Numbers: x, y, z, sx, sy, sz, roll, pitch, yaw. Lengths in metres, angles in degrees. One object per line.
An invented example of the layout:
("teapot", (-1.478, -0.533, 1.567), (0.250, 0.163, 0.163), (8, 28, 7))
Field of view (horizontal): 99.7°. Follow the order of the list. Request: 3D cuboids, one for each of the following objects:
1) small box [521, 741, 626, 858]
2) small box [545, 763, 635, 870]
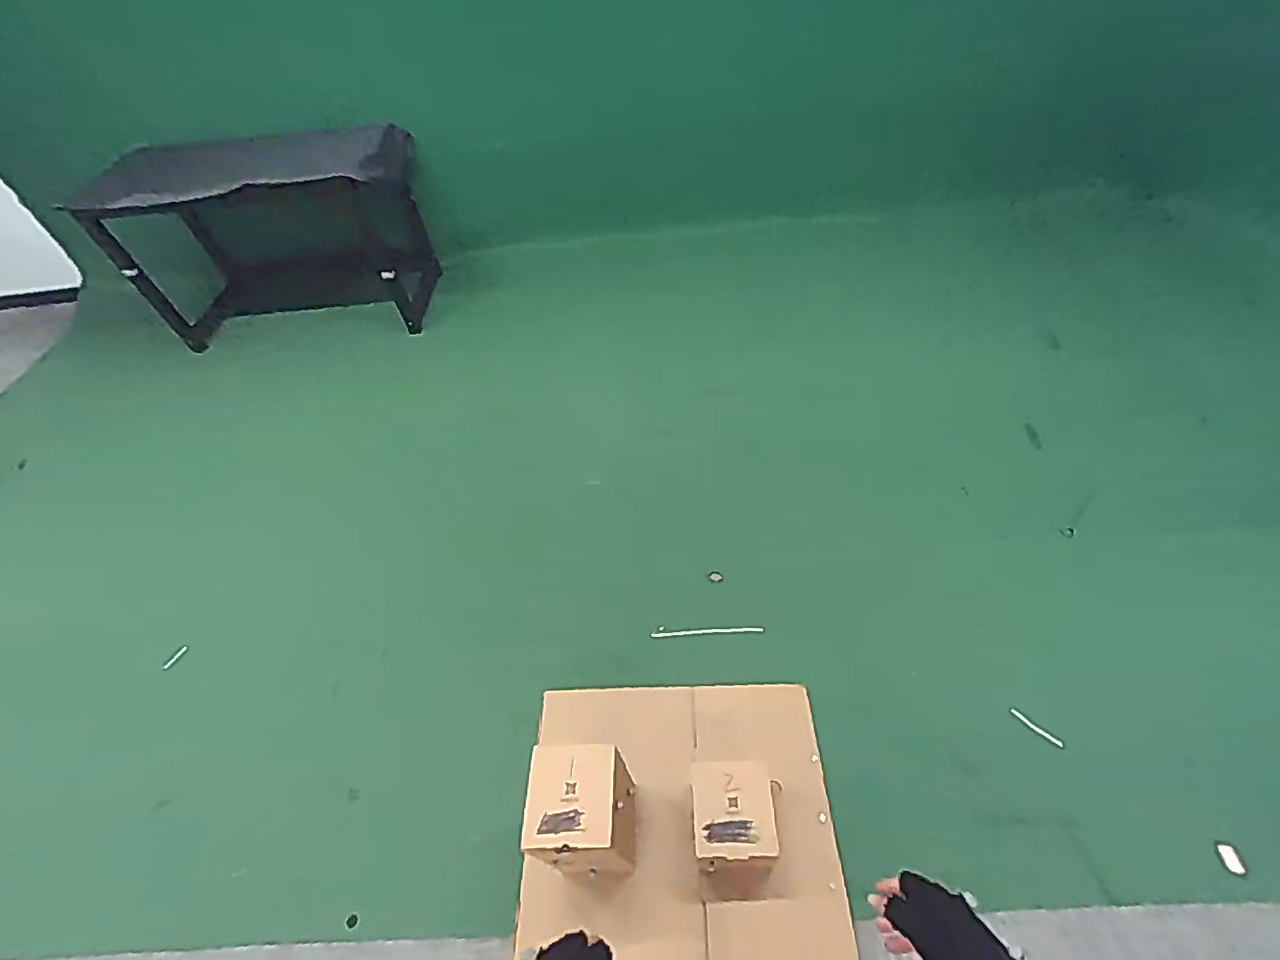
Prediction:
("small box", (-0.120, 0.632, 1.064), (0.168, 0.176, 0.179), (-3, 48, 5))
("small box", (-0.102, 0.740, 1.187), (0.168, 0.176, 0.179), (-5, 49, 5))
